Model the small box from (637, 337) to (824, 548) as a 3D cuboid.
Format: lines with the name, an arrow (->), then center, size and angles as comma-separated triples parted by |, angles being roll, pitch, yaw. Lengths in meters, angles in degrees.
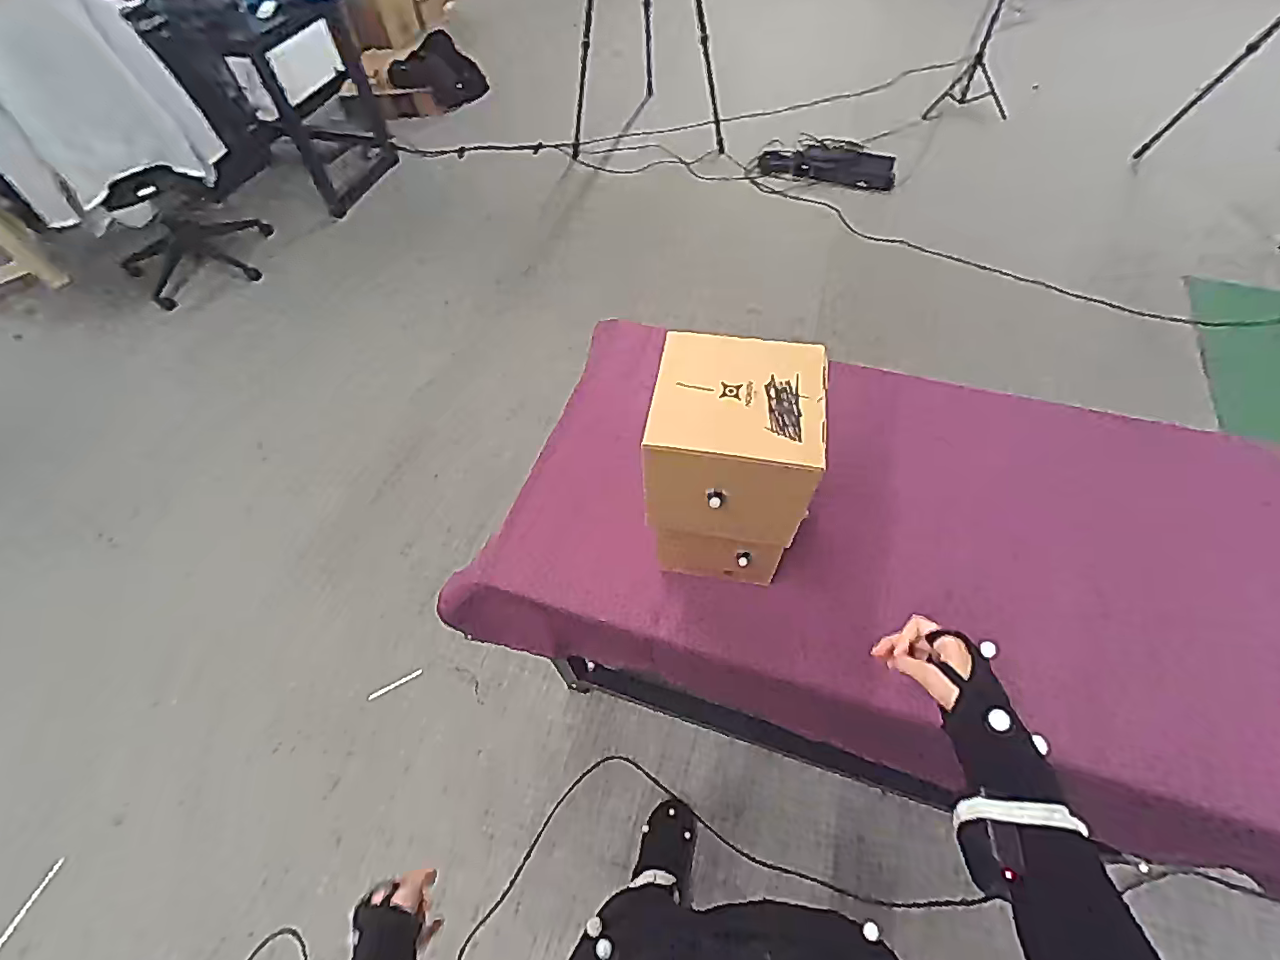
small box -> 0.100, -0.037, 0.618 | 0.179, 0.176, 0.168 | 8, 57, 8

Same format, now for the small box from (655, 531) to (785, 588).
small box -> 0.117, 0.035, 0.767 | 0.168, 0.176, 0.179 | 9, 56, 8
